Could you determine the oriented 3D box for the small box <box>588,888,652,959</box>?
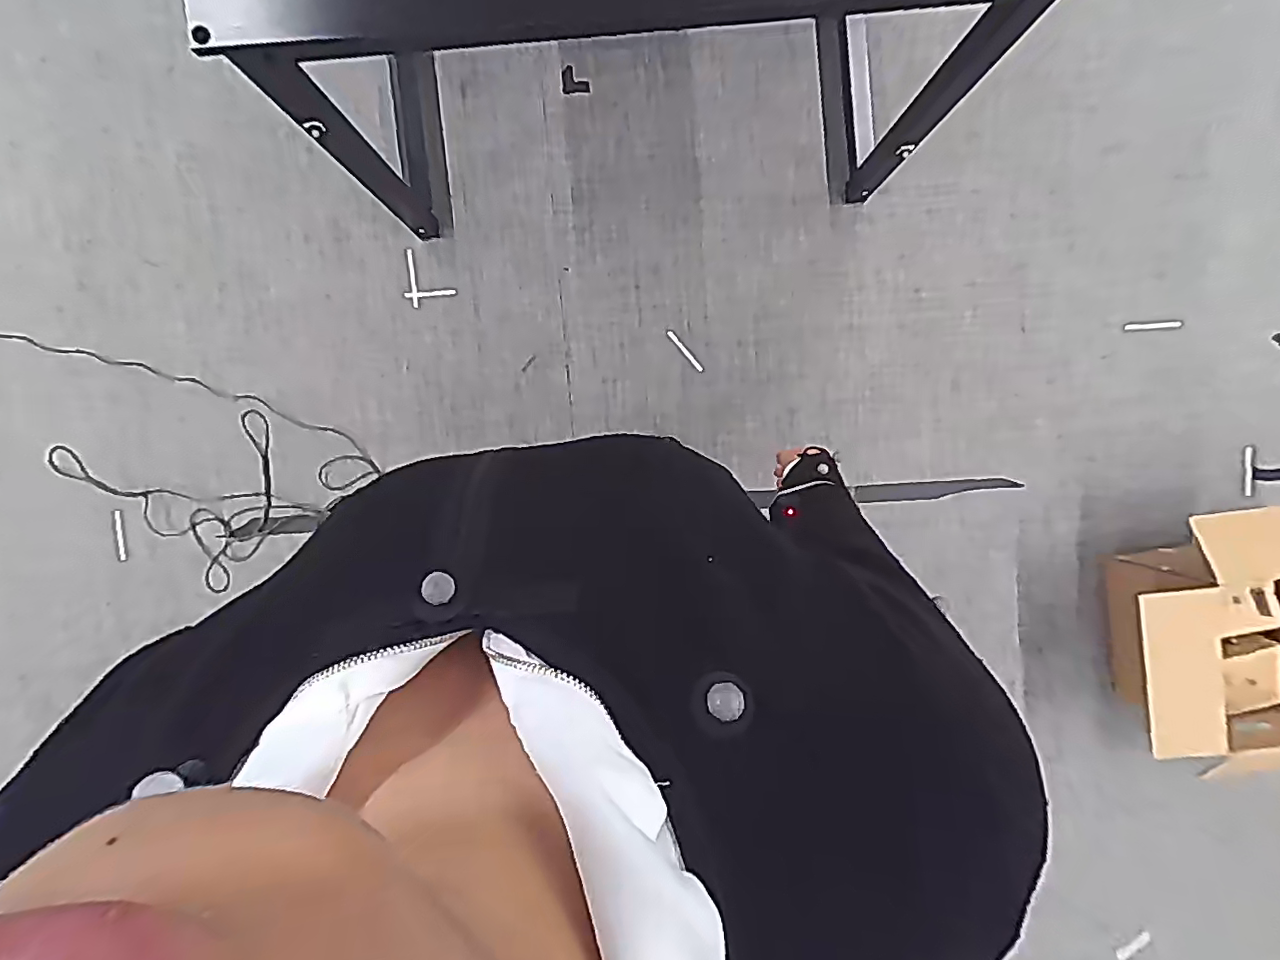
[{"bbox_3d":[-0.055,1.238,1.451,0.168,0.176,0.179,0,92,-1],"label":"small box"}]
